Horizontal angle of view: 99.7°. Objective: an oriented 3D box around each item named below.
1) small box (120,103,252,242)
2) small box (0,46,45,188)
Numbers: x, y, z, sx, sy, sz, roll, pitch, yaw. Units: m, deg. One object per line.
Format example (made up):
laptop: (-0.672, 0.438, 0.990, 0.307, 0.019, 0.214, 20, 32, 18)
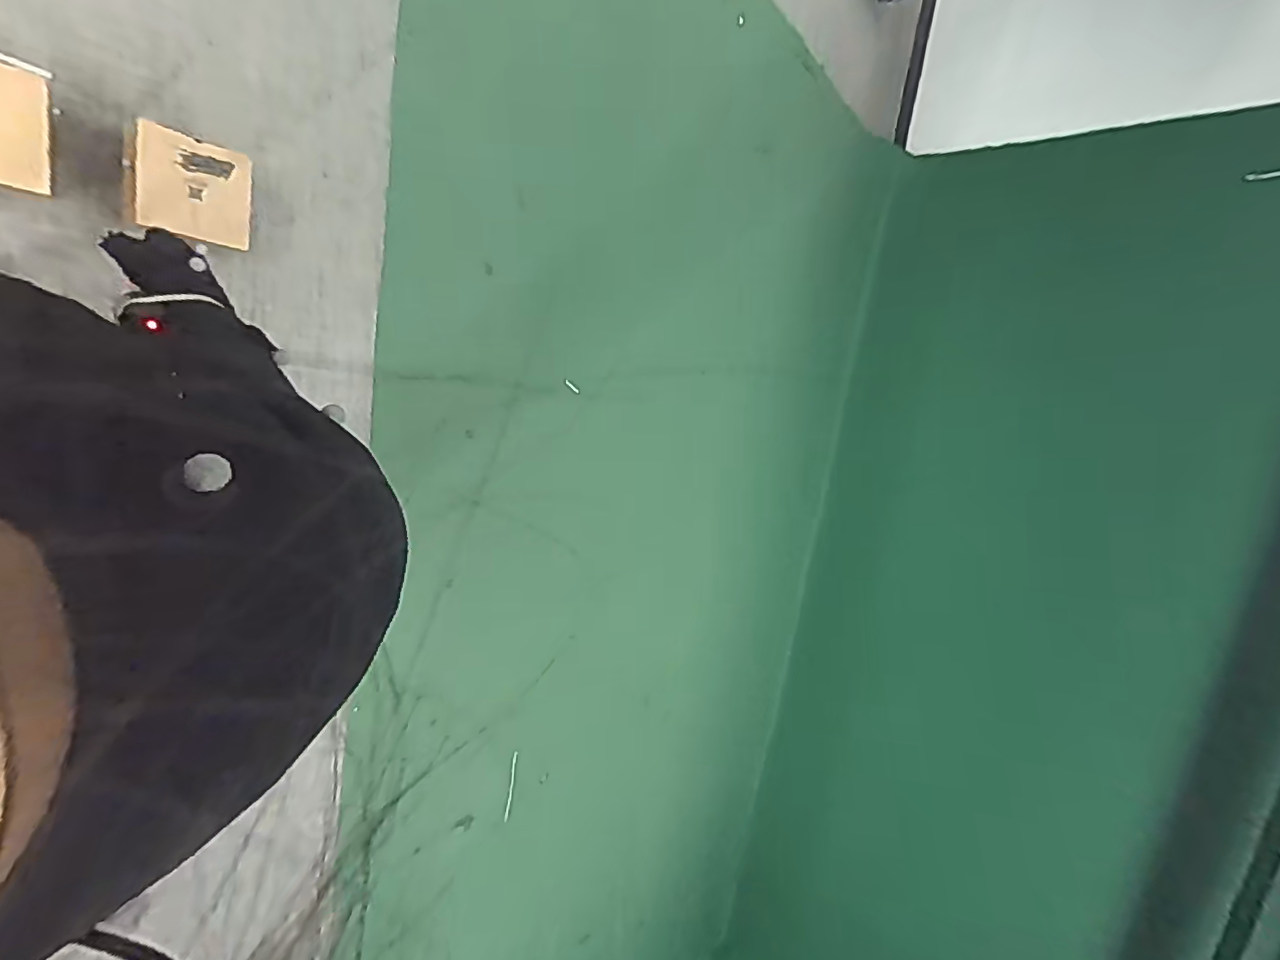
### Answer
small box: (-0.864, -0.569, 1.027, 0.168, 0.176, 0.179, -2, 106, -50)
small box: (-1.035, -0.570, 0.827, 0.168, 0.176, 0.179, -3, 106, -49)
